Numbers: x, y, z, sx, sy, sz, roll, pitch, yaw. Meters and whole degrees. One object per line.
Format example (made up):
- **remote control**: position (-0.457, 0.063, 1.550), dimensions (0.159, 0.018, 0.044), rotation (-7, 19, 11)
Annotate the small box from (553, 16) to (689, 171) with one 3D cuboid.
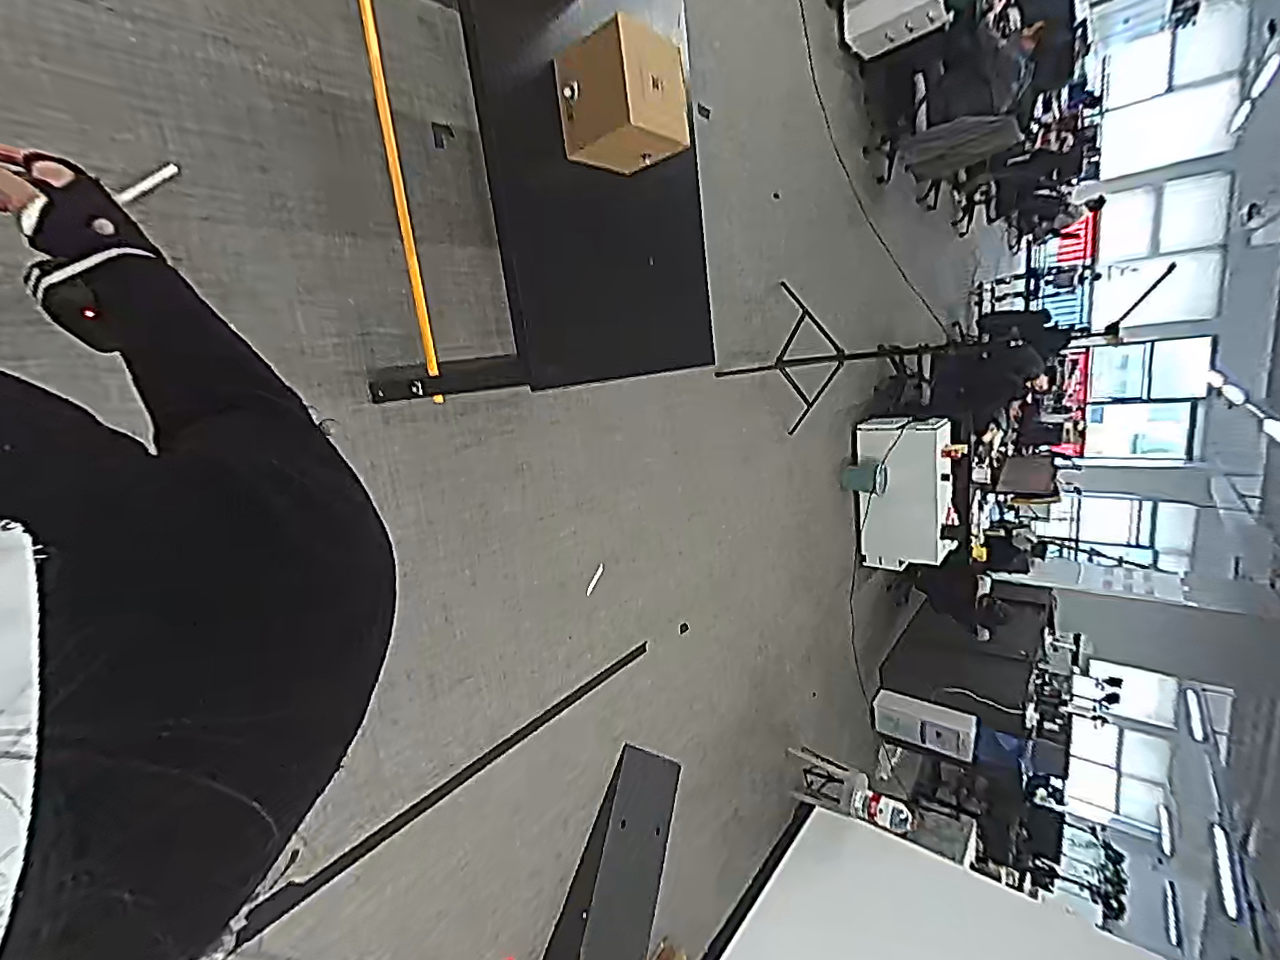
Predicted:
- **small box**: position (-0.034, -0.695, 1.002), dimensions (0.179, 0.176, 0.168), rotation (-21, 107, -46)
